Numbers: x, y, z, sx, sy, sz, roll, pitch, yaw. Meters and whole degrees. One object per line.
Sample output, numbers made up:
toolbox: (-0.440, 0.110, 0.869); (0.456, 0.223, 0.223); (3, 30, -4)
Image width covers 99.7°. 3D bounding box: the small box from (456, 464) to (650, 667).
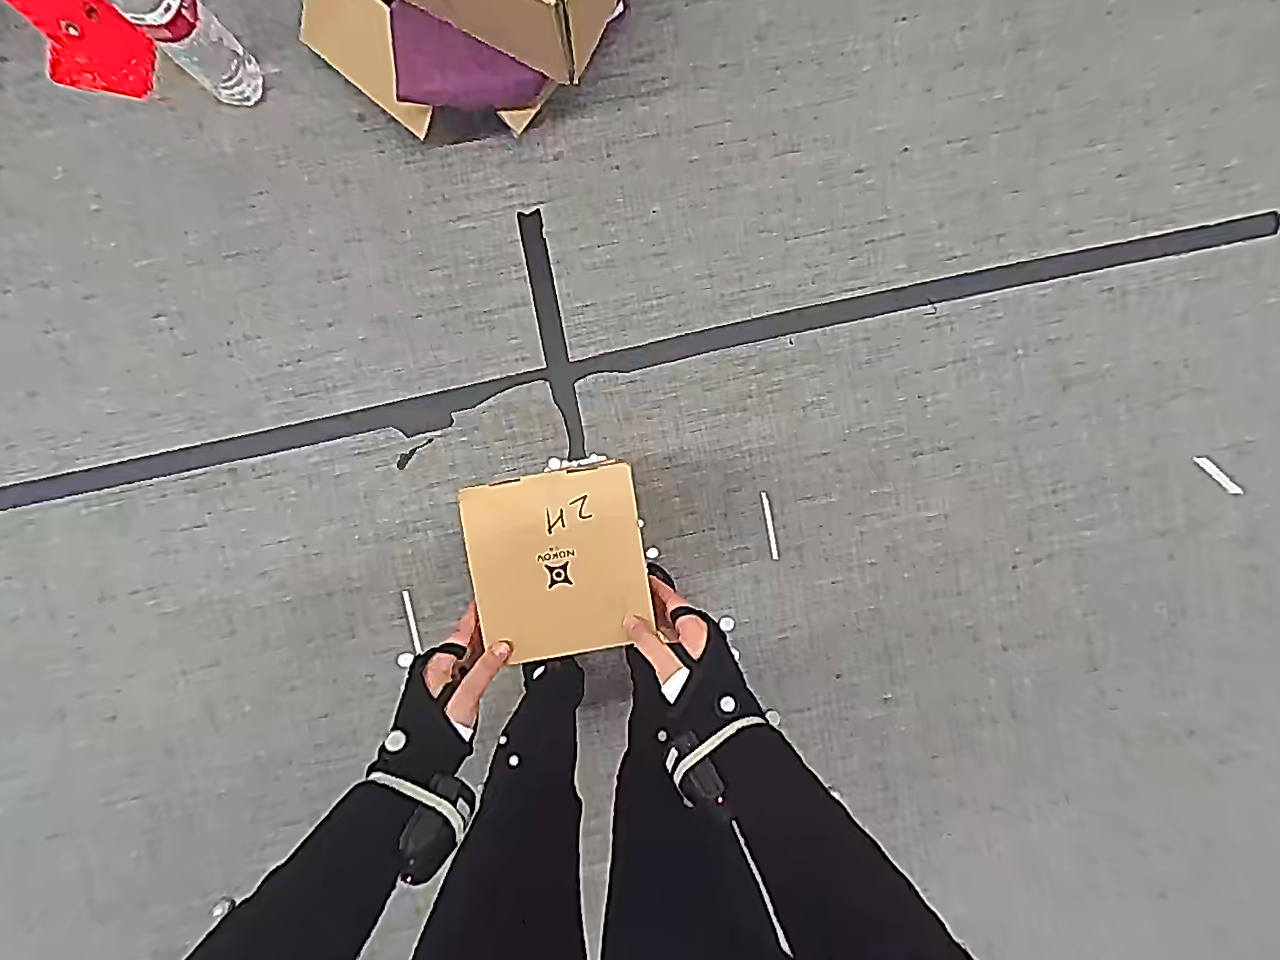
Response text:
small box: (-0.084, 0.080, 0.597); (0.168, 0.176, 0.179); (-10, 92, -3)
